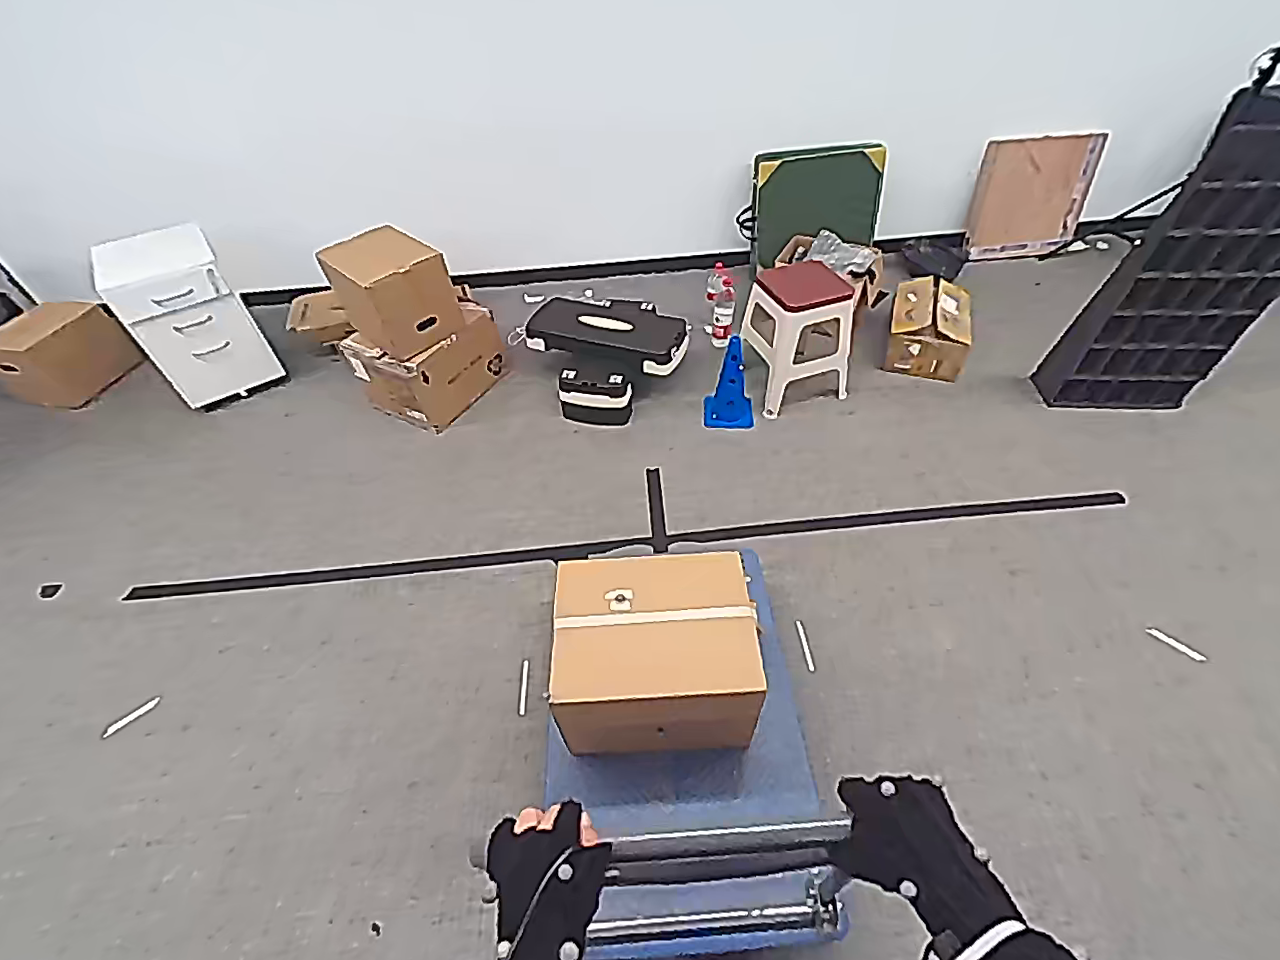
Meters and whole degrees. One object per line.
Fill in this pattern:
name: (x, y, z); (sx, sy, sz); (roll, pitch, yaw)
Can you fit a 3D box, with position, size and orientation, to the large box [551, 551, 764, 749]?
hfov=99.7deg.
large box: (0.034, 0.384, 1.206); (0.408, 0.320, 0.320); (-4, 47, 1)
